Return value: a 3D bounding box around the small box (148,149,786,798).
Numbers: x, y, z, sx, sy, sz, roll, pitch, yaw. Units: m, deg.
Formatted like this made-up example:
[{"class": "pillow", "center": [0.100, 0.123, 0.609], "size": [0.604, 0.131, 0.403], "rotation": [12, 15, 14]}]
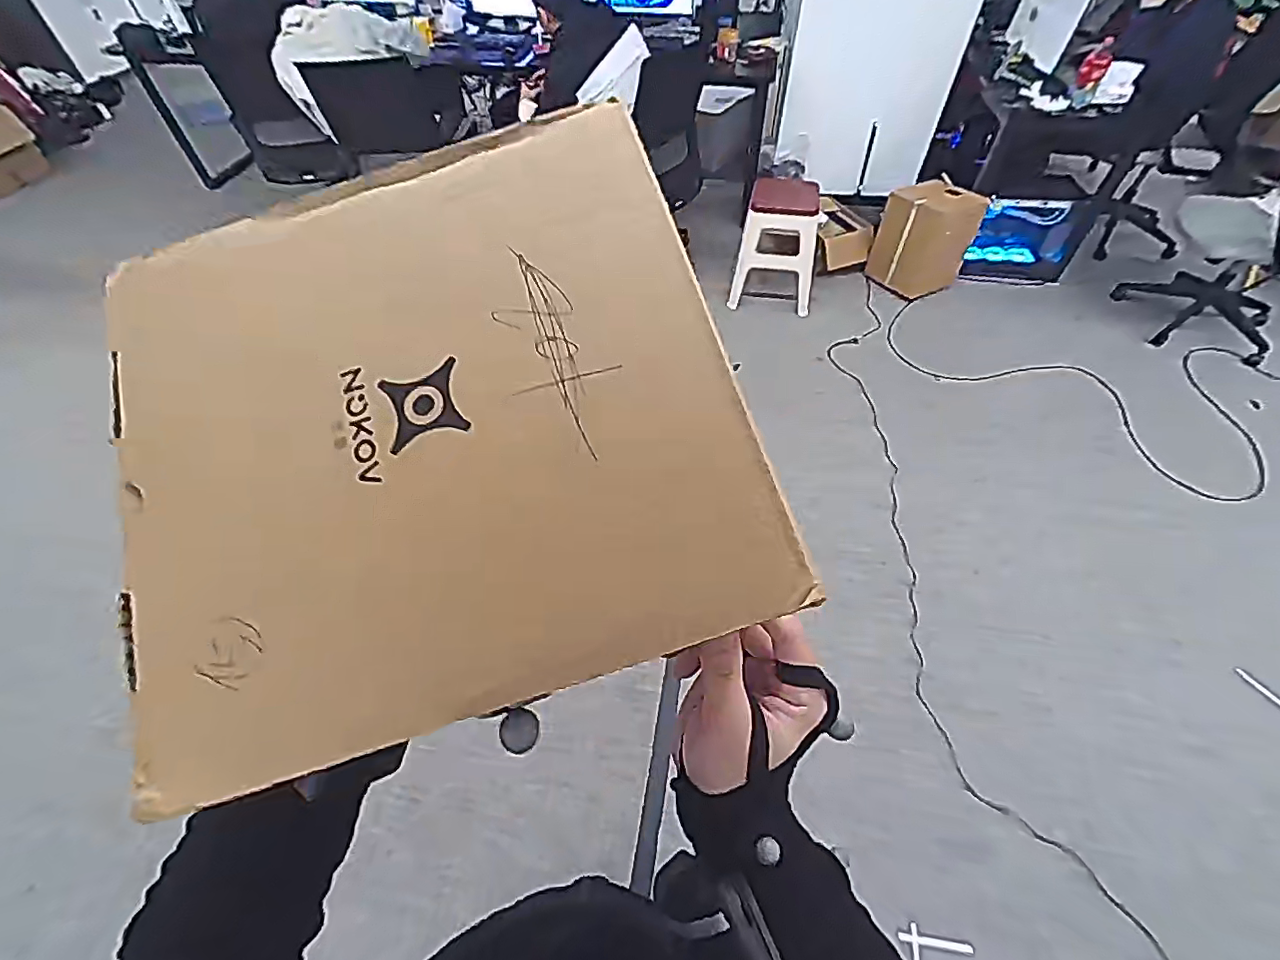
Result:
[{"class": "small box", "center": [-0.057, 0.007, 0.243], "size": [0.179, 0.176, 0.168], "rotation": [-19, 75, 0]}]
